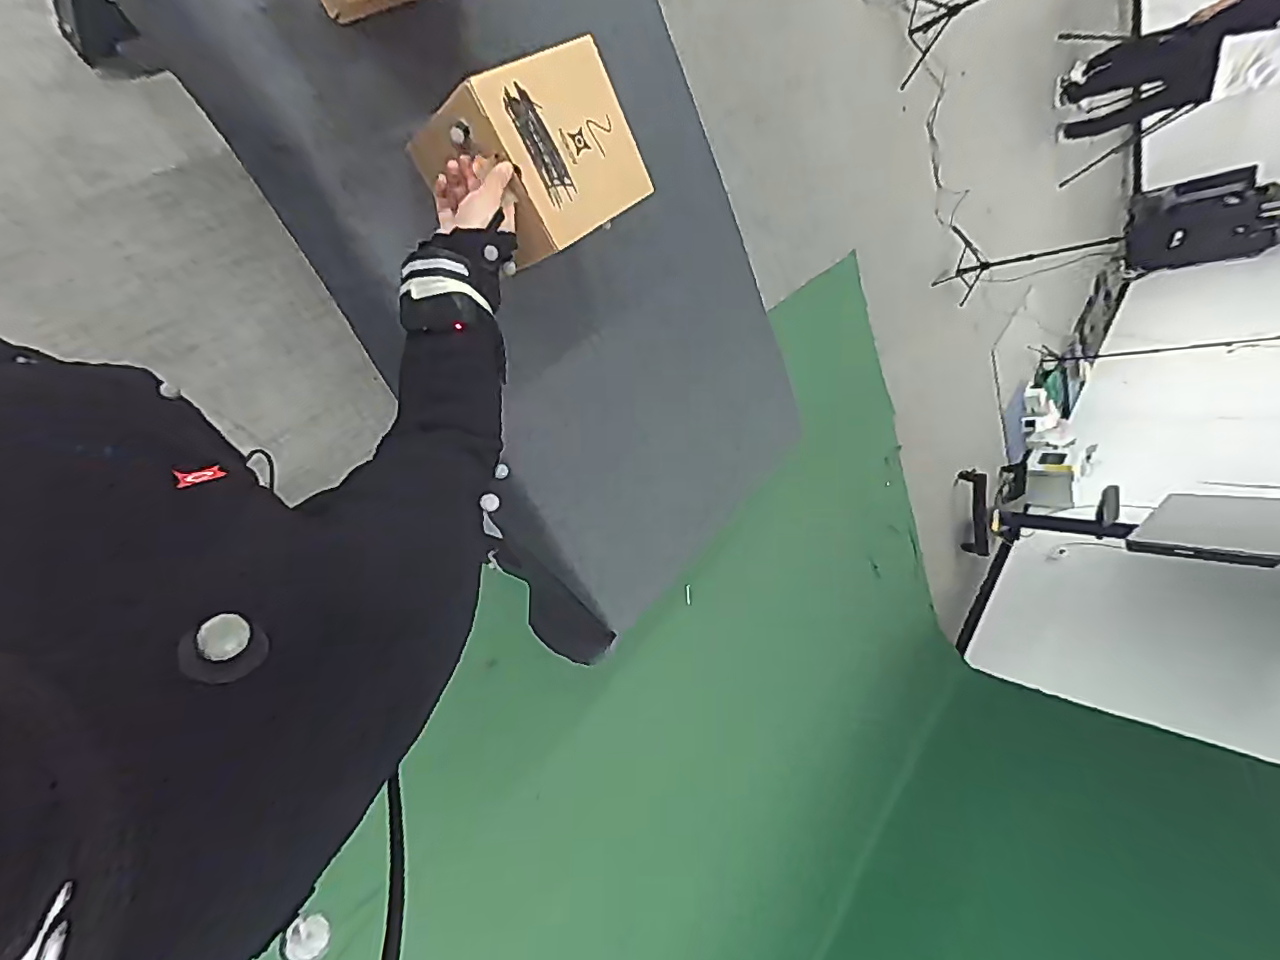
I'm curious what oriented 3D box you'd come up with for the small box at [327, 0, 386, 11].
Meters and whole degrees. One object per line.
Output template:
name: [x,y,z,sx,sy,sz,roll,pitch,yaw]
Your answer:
small box: [-0.244,-0.588,0.499,0.179,0.176,0.168,-48,124,-27]
